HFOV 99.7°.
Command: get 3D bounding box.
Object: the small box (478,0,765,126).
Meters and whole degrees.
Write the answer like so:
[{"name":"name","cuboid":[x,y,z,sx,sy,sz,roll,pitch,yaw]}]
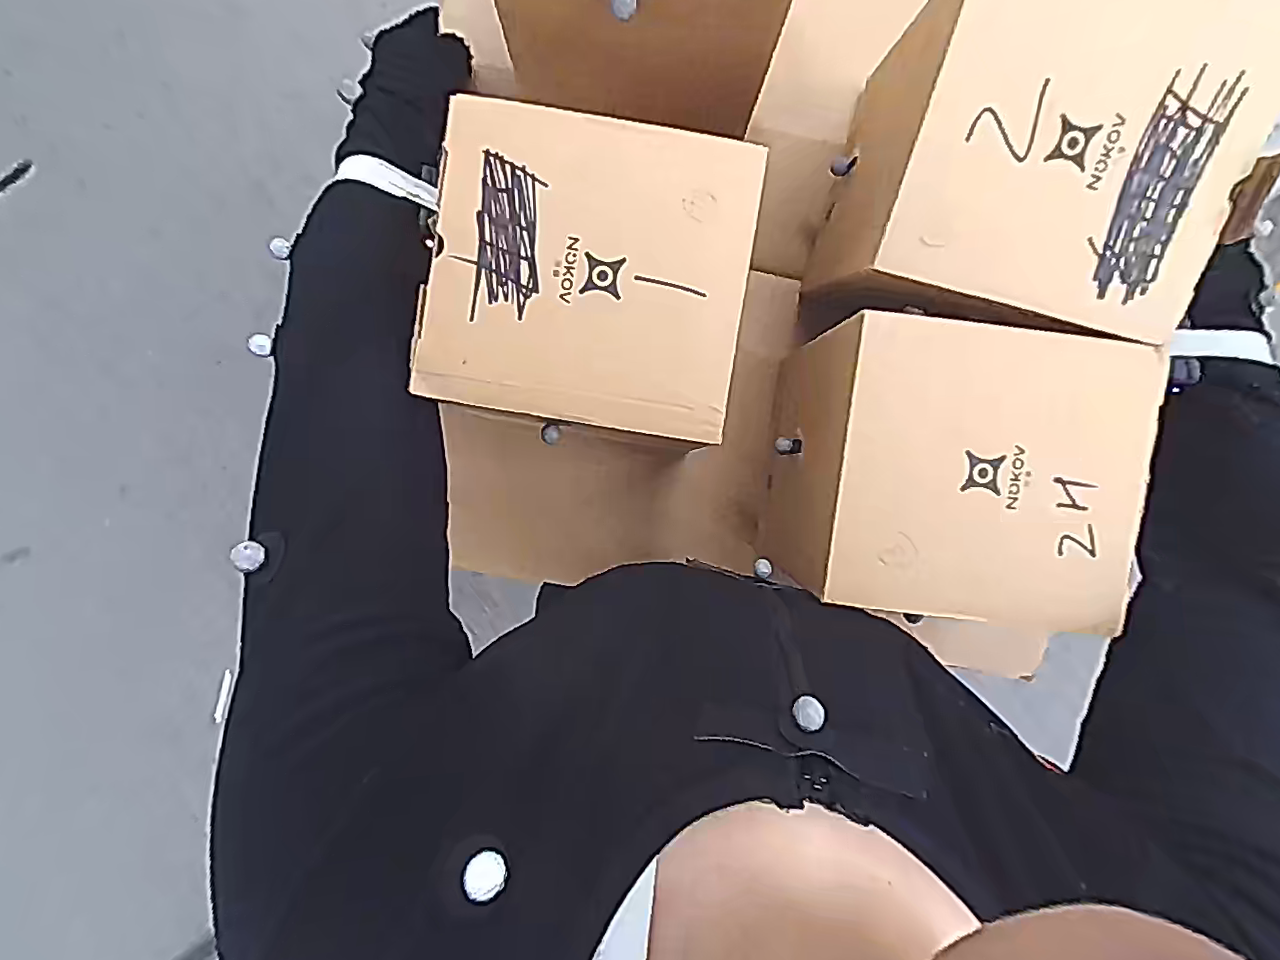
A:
[{"name":"small box","cuboid":[-0.006,-0.360,0.343,0.179,0.176,0.168,5,91,-1]}]
